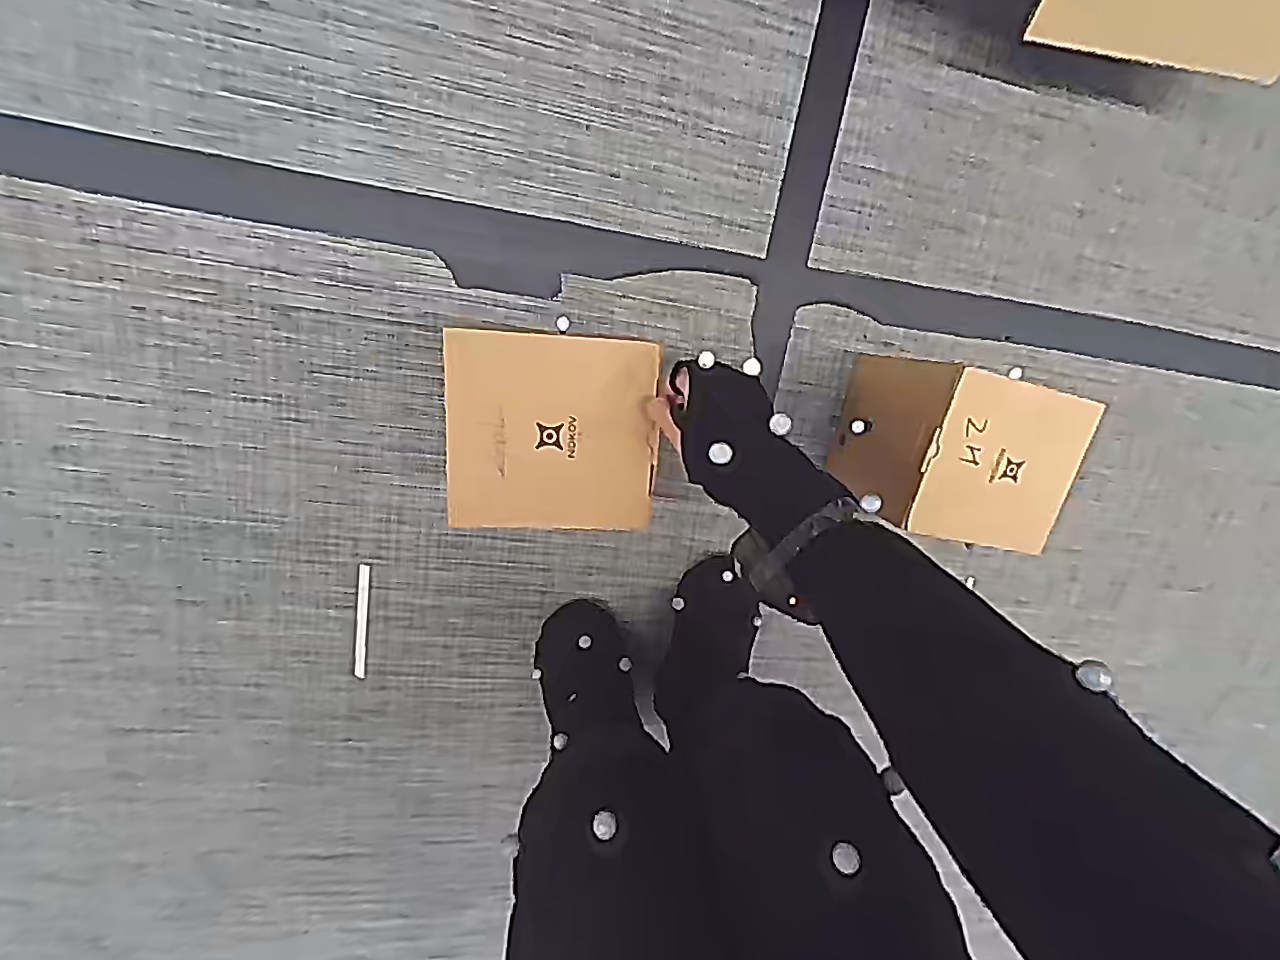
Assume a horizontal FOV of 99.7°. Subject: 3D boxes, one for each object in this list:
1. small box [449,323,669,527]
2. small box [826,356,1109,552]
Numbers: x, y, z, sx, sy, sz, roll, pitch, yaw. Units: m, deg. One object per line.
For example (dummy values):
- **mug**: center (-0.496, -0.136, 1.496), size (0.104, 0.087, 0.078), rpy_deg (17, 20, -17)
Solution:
- **small box**: center (-0.080, -0.061, 0.523), size (0.179, 0.176, 0.168), rpy_deg (1, 105, -9)
- **small box**: center (0.345, -0.038, 0.605), size (0.179, 0.176, 0.168), rpy_deg (11, 104, -13)
